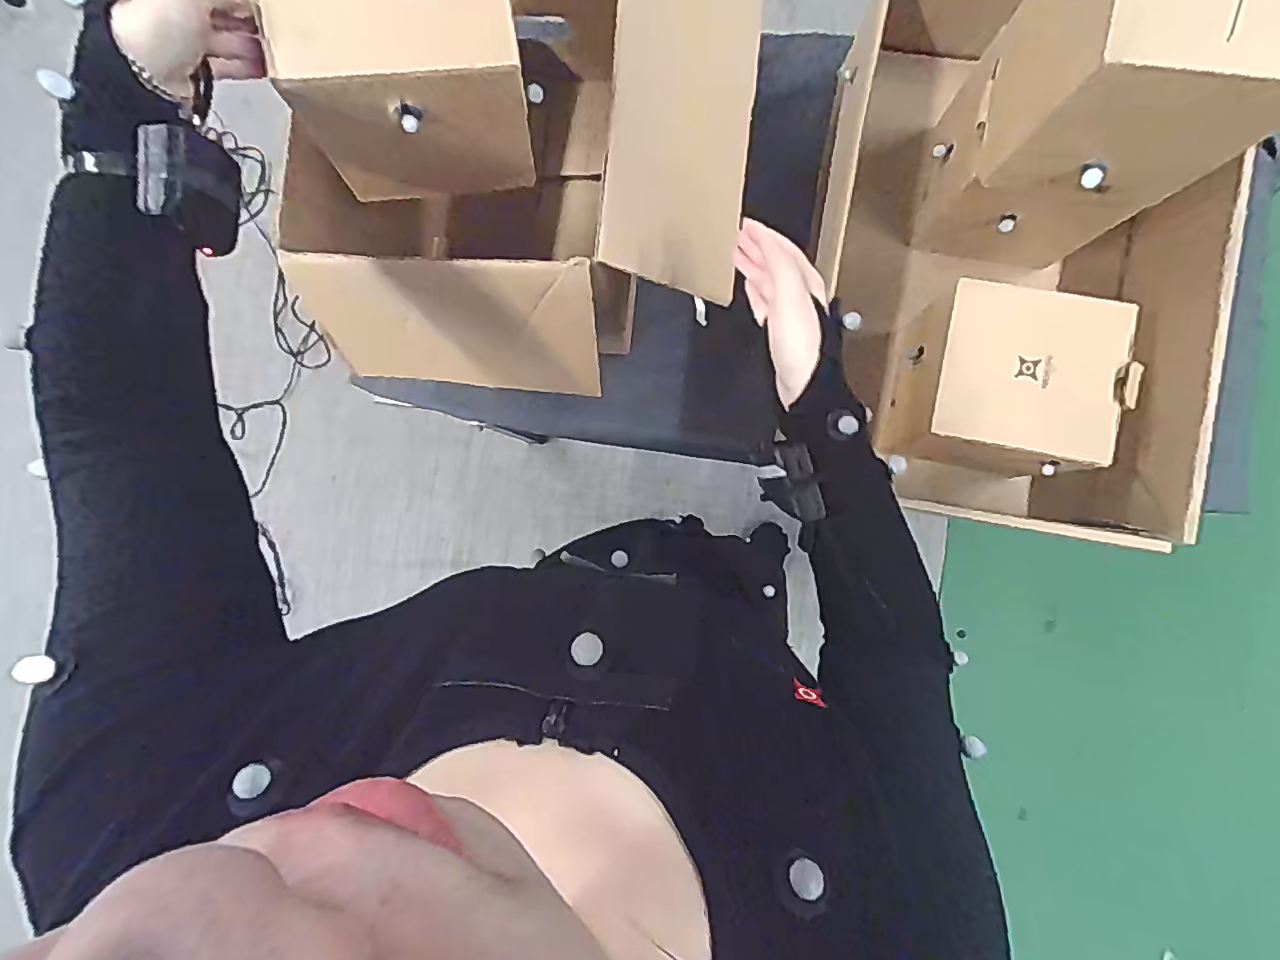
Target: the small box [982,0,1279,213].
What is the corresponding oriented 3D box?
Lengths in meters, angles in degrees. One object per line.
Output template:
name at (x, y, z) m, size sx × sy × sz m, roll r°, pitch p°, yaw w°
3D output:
small box at (0.431, -0.366, 0.465) m, size 0.168 × 0.176 × 0.179 m, roll 11°, pitch 91°, yaw 5°
